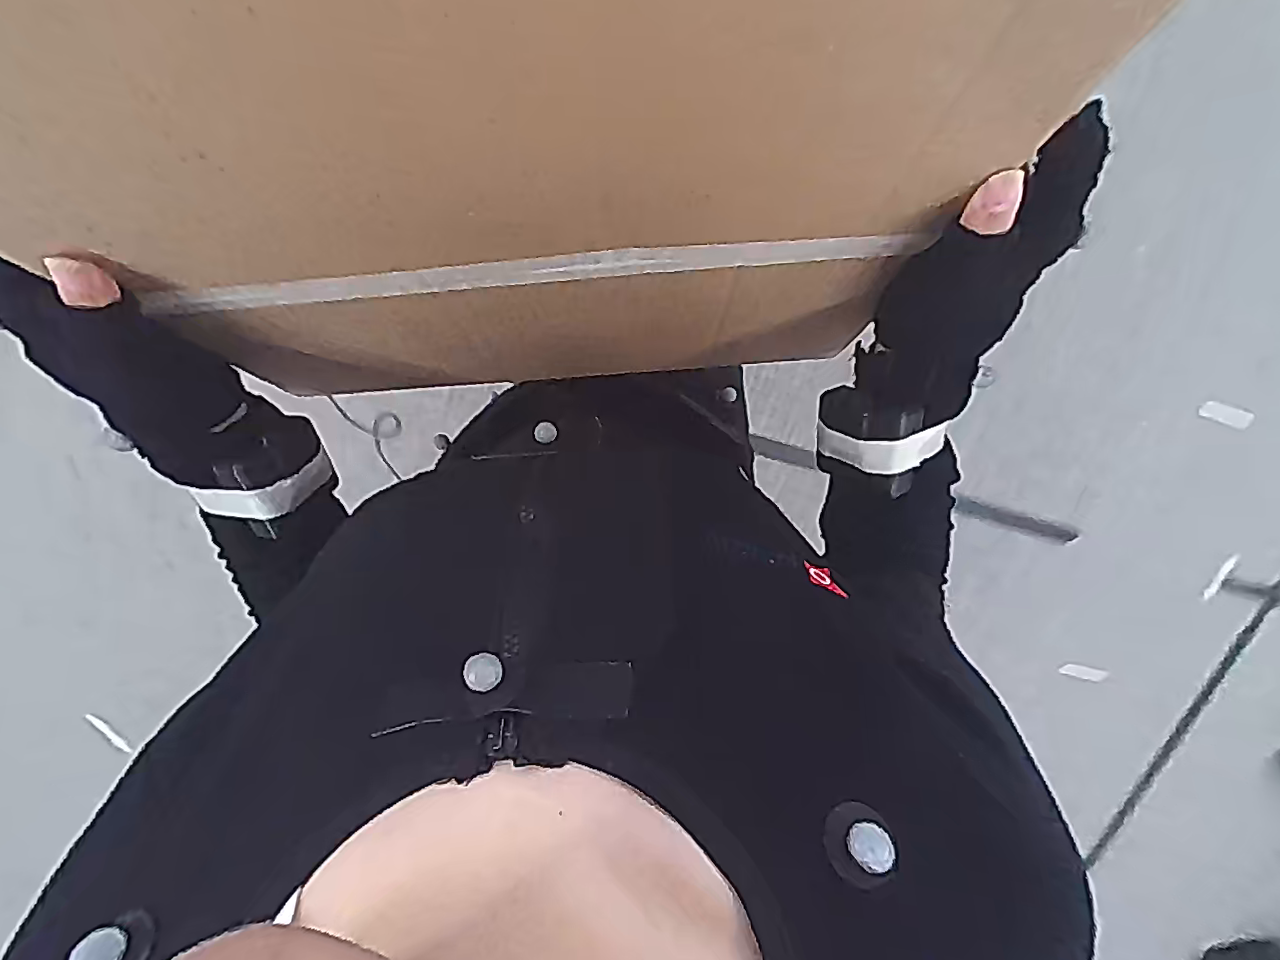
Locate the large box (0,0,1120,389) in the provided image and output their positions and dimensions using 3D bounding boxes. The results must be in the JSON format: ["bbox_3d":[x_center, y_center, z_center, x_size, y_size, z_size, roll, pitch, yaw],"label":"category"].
[{"bbox_3d":[-0.067,-0.259,0.286,0.408,0.320,0.320,-5,82,-1],"label":"large box"}]
